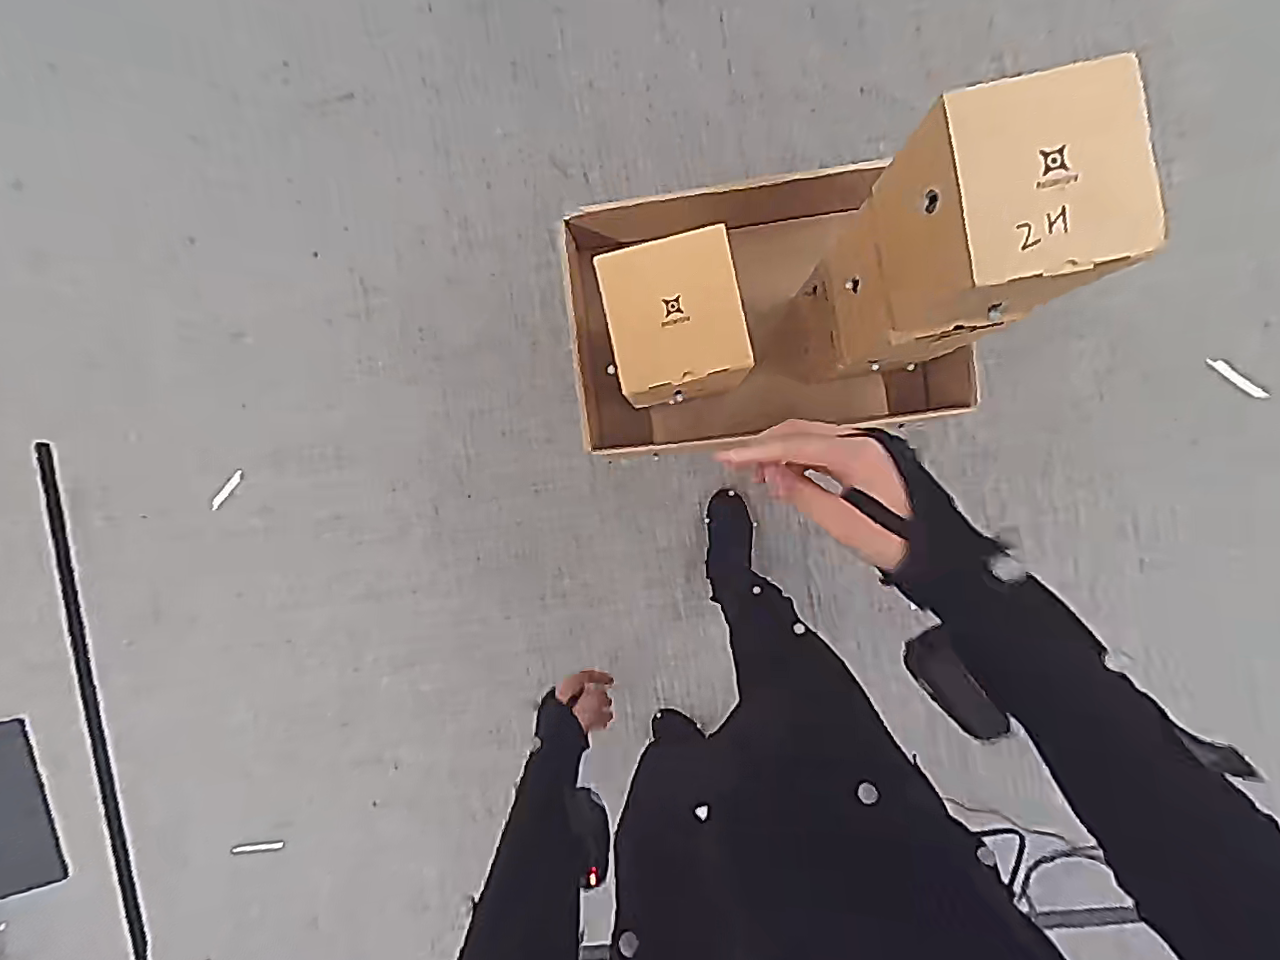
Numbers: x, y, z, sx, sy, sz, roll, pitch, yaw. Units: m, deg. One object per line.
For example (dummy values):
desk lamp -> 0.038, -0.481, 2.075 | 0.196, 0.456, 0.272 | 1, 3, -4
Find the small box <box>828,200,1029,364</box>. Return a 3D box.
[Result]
small box -> 0.362, -0.256, 0.707 | 0.168, 0.176, 0.179 | -10, 91, 3

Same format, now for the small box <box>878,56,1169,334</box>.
small box -> 0.359, -0.263, 0.542 | 0.168, 0.176, 0.179 | -10, 92, 3

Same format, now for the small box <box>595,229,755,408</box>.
small box -> 0.045, -0.203, 0.730 | 0.168, 0.176, 0.179 | -13, 93, 4
